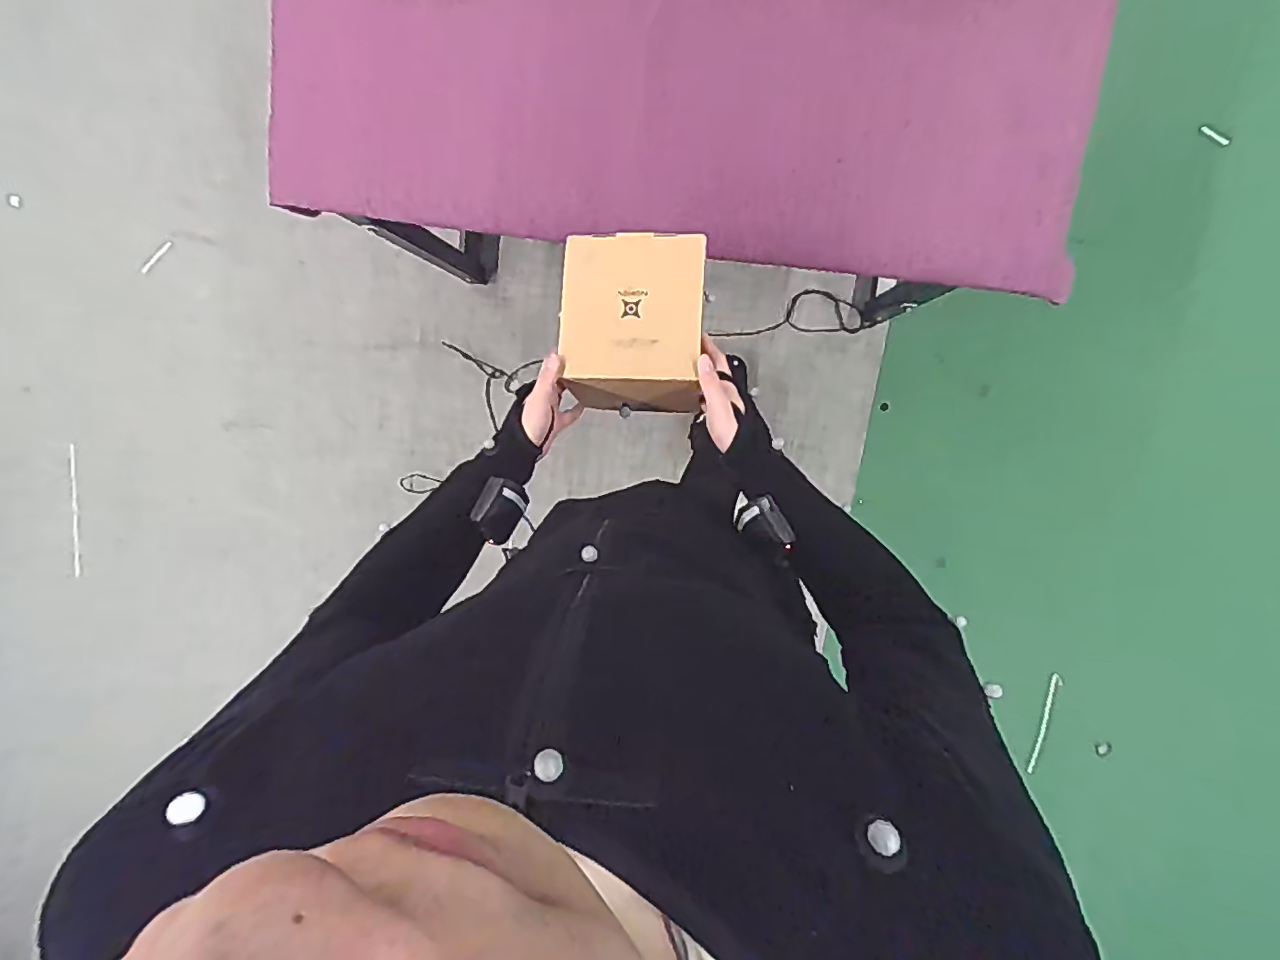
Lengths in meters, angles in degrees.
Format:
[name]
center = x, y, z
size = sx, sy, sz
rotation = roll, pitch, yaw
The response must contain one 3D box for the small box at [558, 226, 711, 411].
[small box]
center = 0.000, -0.195, 0.690
size = 0.168, 0.176, 0.179
rotation = 3, 85, 6
